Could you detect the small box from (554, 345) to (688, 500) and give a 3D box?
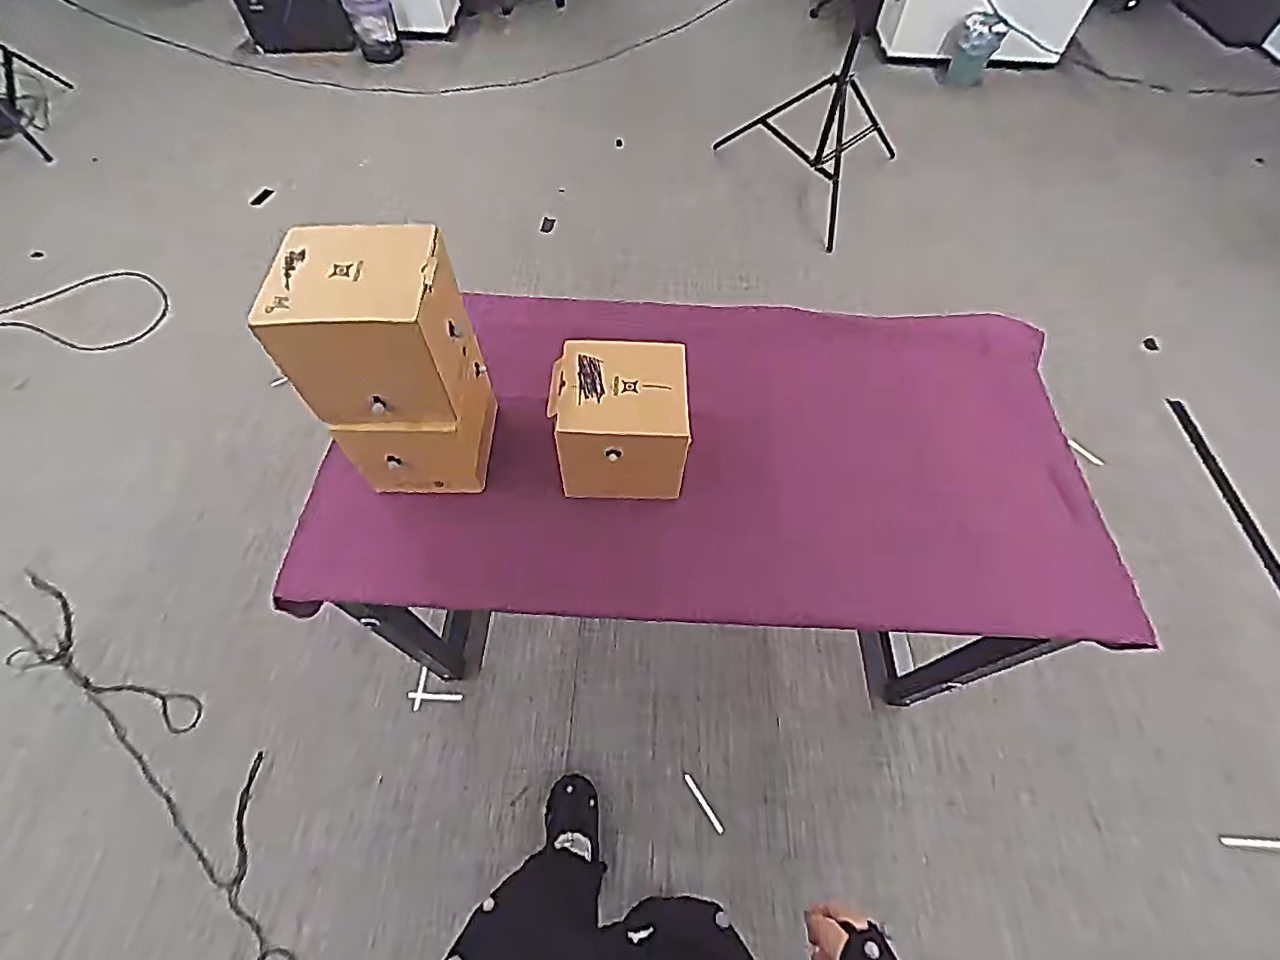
[{"bbox_3d":[-0.025,-0.080,0.806,0.179,0.176,0.168,1,59,-2],"label":"small box"}]

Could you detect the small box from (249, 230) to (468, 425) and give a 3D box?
[{"bbox_3d":[-0.321,-0.181,0.667,0.179,0.176,0.168,-1,58,-3],"label":"small box"}]

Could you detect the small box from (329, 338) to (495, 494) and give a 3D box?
[{"bbox_3d":[-0.320,-0.089,0.804,0.168,0.176,0.179,0,58,-2],"label":"small box"}]
